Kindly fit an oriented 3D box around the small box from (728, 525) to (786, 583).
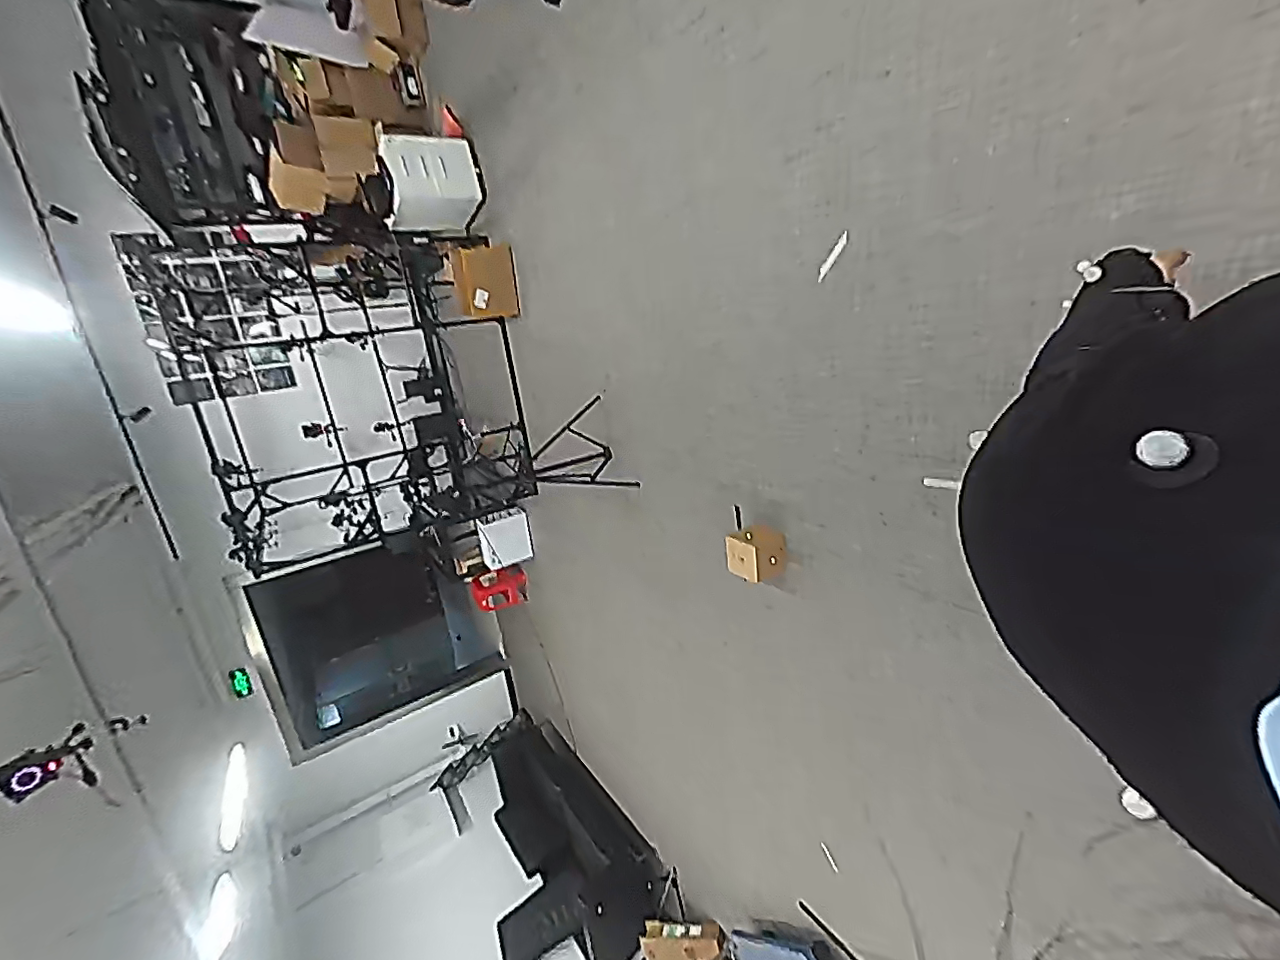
[{"bbox_3d":[0.492,0.301,2.249,0.179,0.176,0.168,20,121,55],"label":"small box"}]
